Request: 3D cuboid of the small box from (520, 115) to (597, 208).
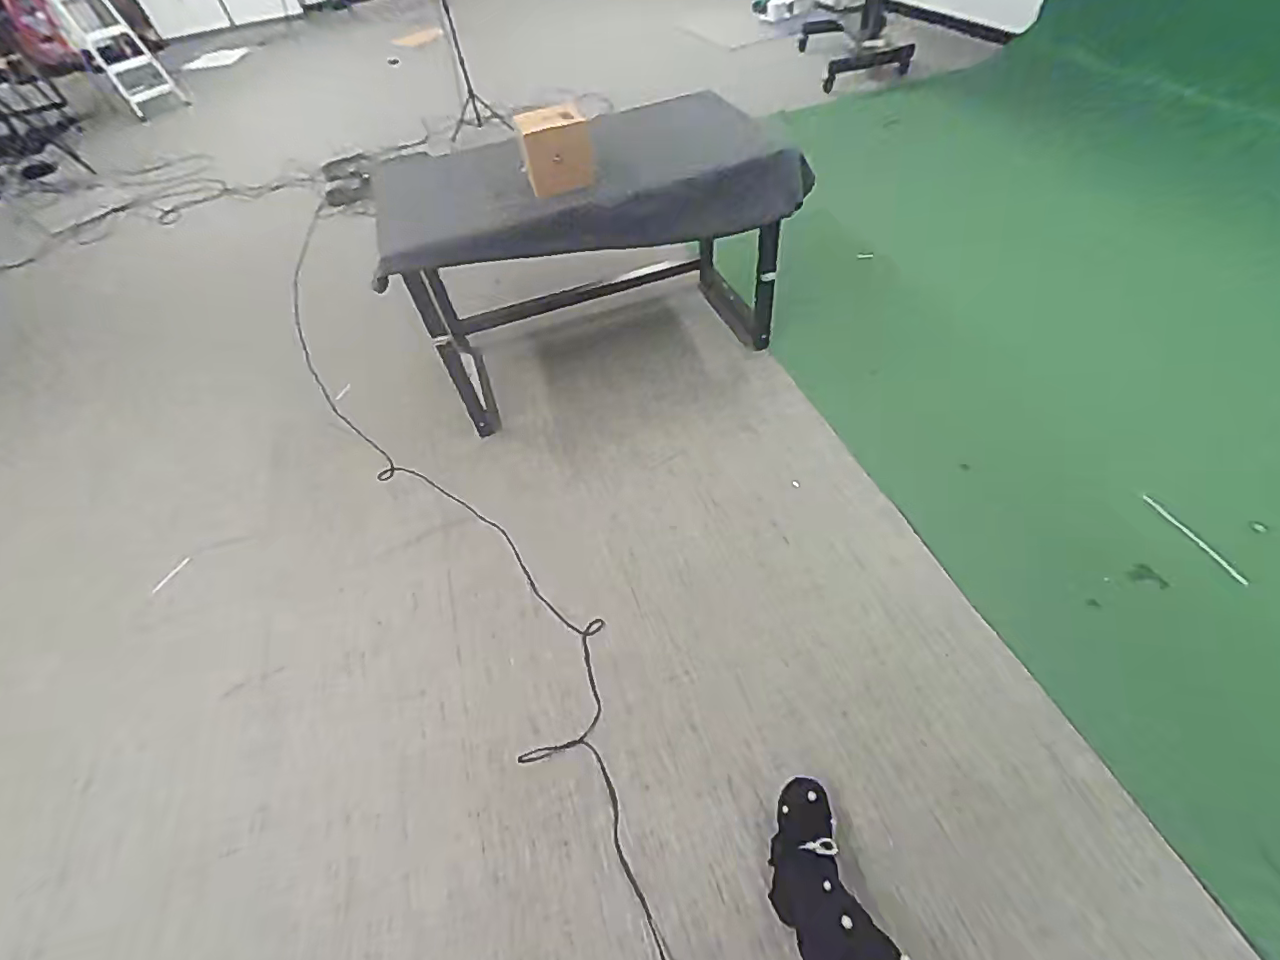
[{"bbox_3d":[-0.227,-0.907,1.544,0.179,0.176,0.168,-17,50,-6],"label":"small box"}]
